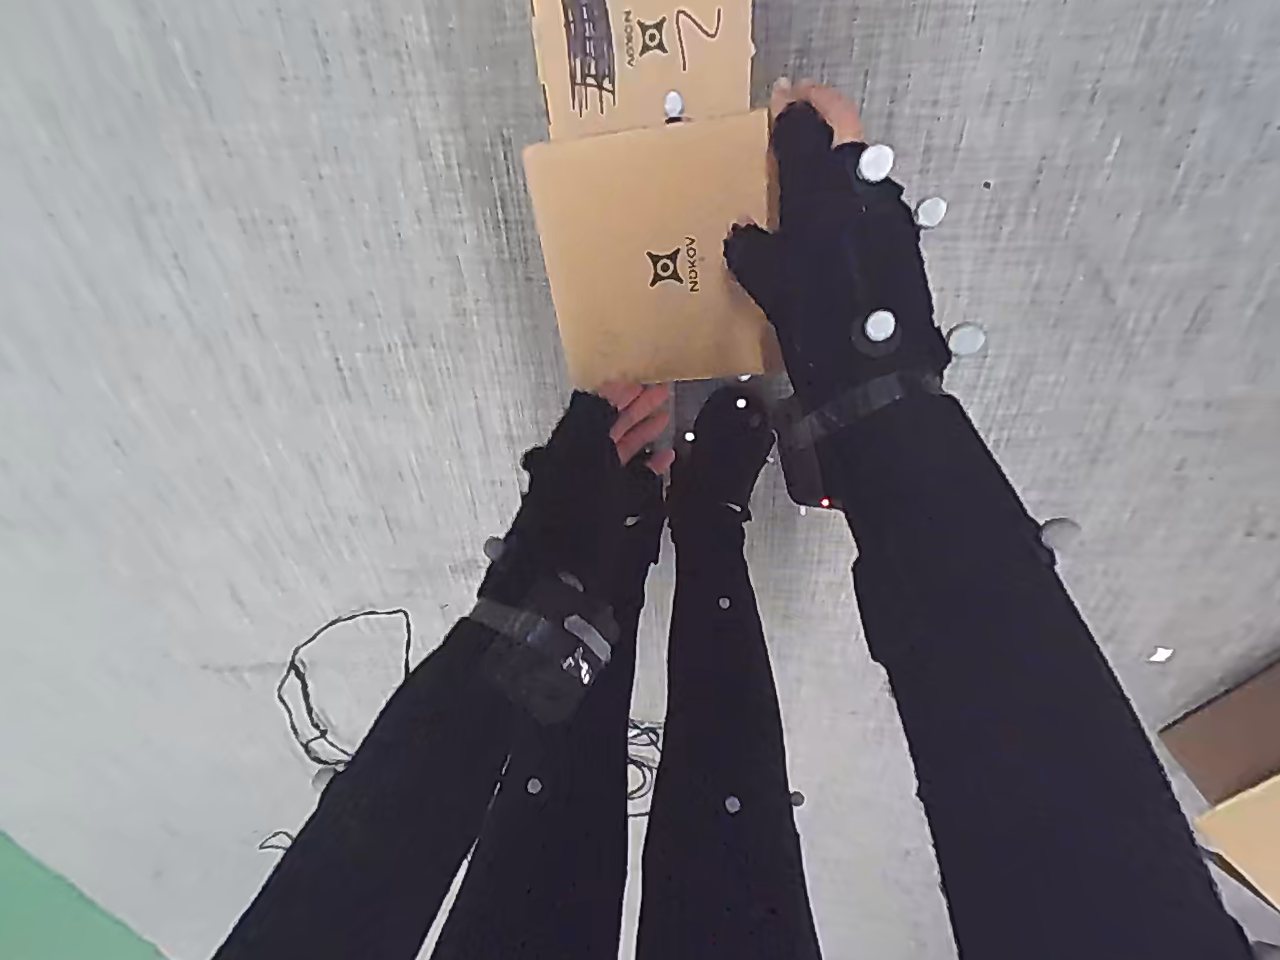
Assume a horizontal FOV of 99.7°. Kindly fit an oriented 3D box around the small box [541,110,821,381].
[{"bbox_3d":[0.036,-0.188,0.438,0.179,0.176,0.168,-2,121,7],"label":"small box"}]
